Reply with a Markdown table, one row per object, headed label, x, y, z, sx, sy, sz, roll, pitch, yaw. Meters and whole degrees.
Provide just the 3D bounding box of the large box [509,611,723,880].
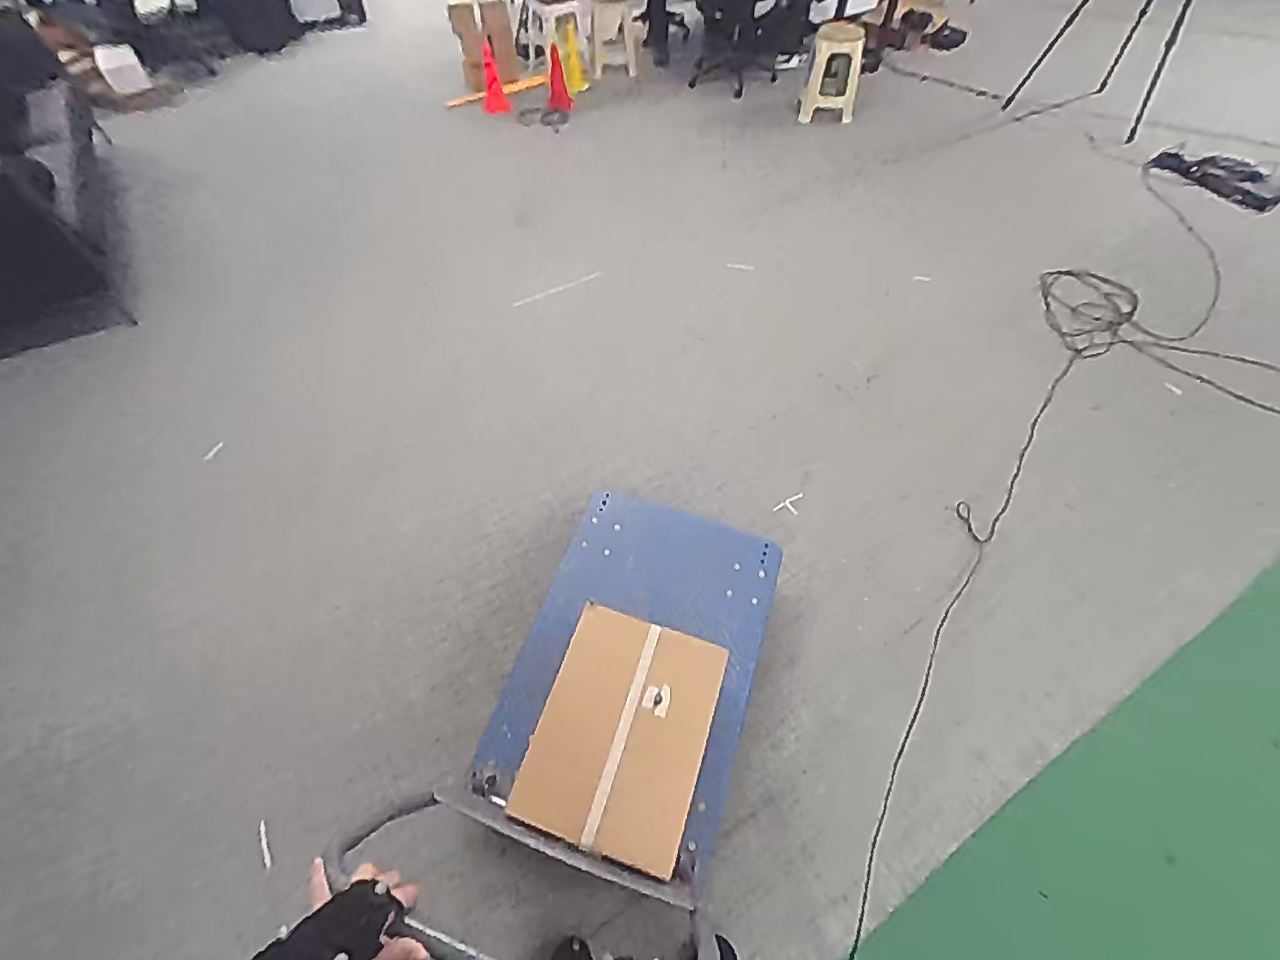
| label | x | y | z | sx | sy | sz | roll | pitch | yaw |
| --- | --- | --- | --- | --- | --- | --- | --- | --- | --- |
| large box | -0.033 | 0.561 | 1.169 | 0.320 | 0.320 | 0.408 | 17 | 61 | 9 |
